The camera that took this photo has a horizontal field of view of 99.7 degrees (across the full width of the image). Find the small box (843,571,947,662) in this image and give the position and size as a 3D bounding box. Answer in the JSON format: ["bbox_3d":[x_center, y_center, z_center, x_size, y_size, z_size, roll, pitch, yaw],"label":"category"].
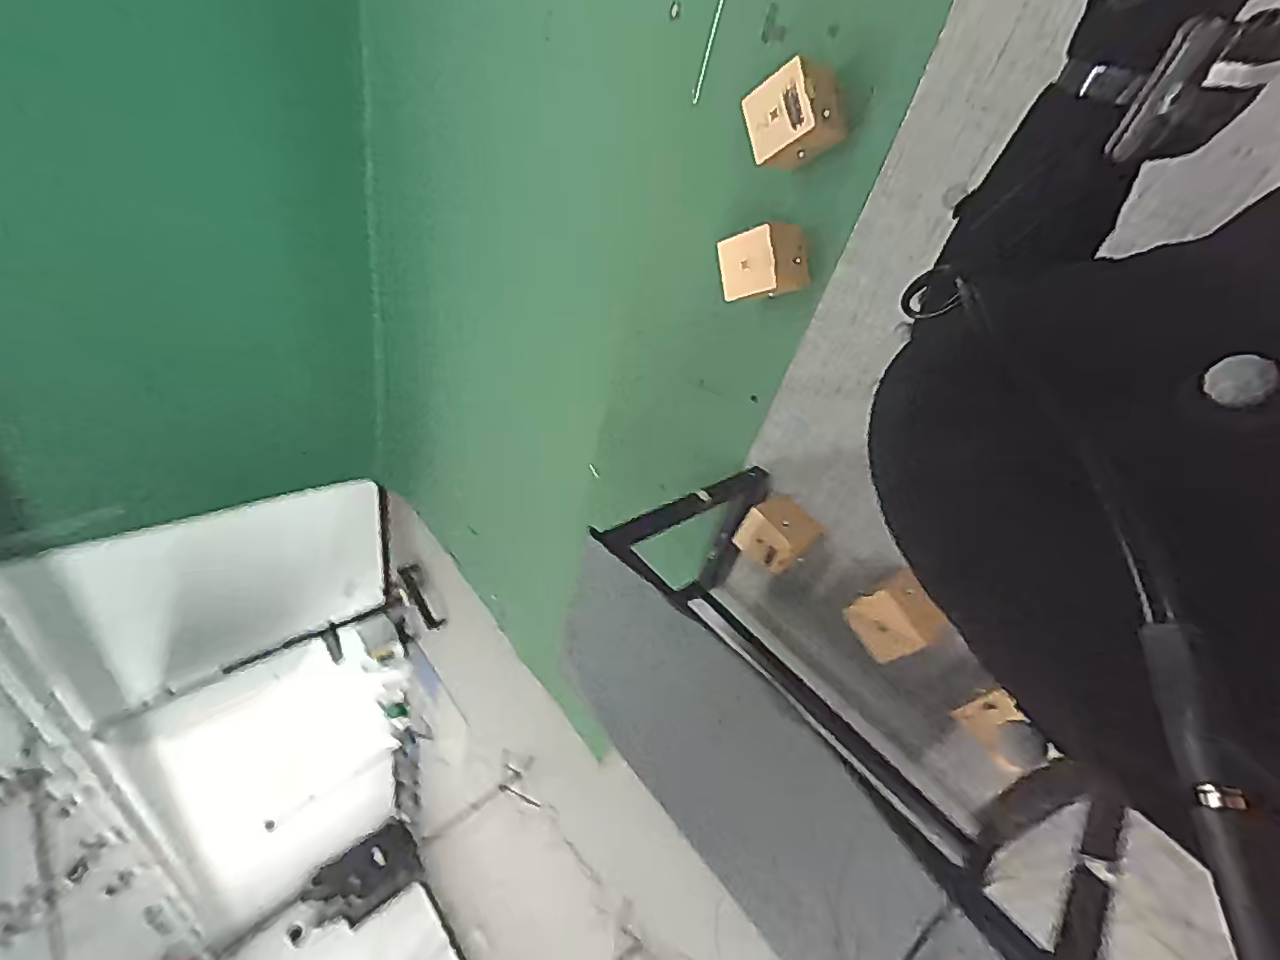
[{"bbox_3d":[0.718,0.375,1.524,0.179,0.176,0.168,56,138,14],"label":"small box"}]

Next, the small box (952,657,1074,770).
[{"bbox_3d":[0.942,0.584,1.361,0.179,0.176,0.168,50,135,21],"label":"small box"}]

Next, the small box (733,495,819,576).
[{"bbox_3d":[0.442,0.172,1.743,0.179,0.176,0.168,46,133,26],"label":"small box"}]

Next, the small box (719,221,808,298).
[{"bbox_3d":[0.353,-0.618,1.536,0.179,0.176,0.168,1,105,47],"label":"small box"}]
